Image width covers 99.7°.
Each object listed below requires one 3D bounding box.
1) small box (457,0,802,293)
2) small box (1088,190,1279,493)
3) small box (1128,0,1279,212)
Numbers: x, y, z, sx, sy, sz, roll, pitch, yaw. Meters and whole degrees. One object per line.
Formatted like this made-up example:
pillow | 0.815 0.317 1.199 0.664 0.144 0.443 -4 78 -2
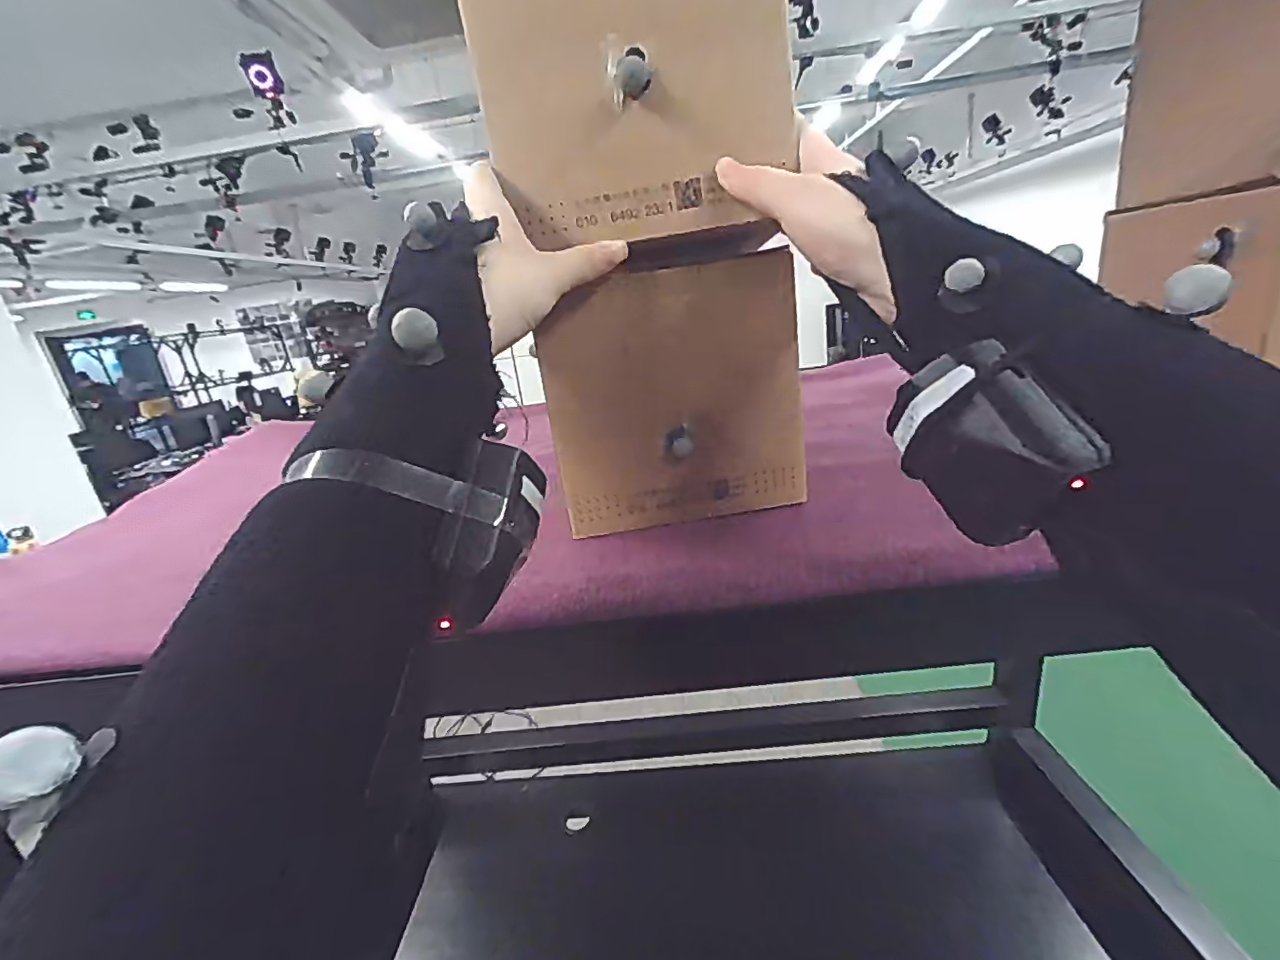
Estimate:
small box | 0.001 -0.224 0.354 0.168 0.176 0.179 -8 16 4
small box | 0.433 -0.099 0.349 0.168 0.176 0.179 -4 20 14
small box | 0.409 -0.248 0.290 0.168 0.176 0.179 -4 21 18
